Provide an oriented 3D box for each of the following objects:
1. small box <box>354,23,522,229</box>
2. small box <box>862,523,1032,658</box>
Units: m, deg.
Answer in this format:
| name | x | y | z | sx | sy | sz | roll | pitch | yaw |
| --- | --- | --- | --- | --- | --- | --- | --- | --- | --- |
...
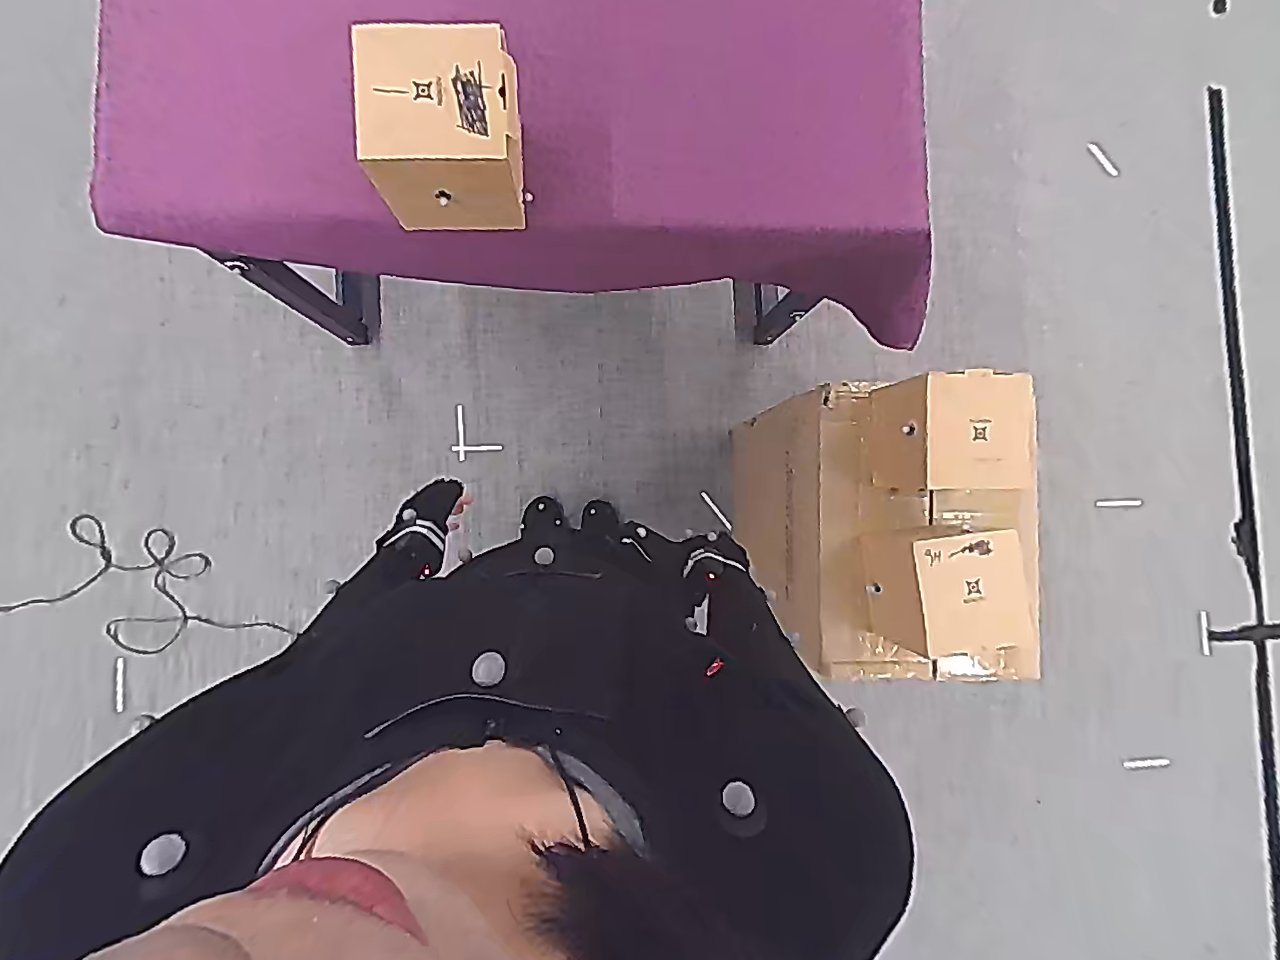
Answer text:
| name | x | y | z | sx | sy | sz | roll | pitch | yaw |
| --- | --- | --- | --- | --- | --- | --- | --- | --- | --- |
| small box | -0.252 | -0.452 | 0.716 | 0.179 | 0.176 | 0.168 | -3 | 87 | -5 |
| small box | 0.480 | 0.167 | 0.868 | 0.168 | 0.176 | 0.179 | -7 | 88 | -4 |
